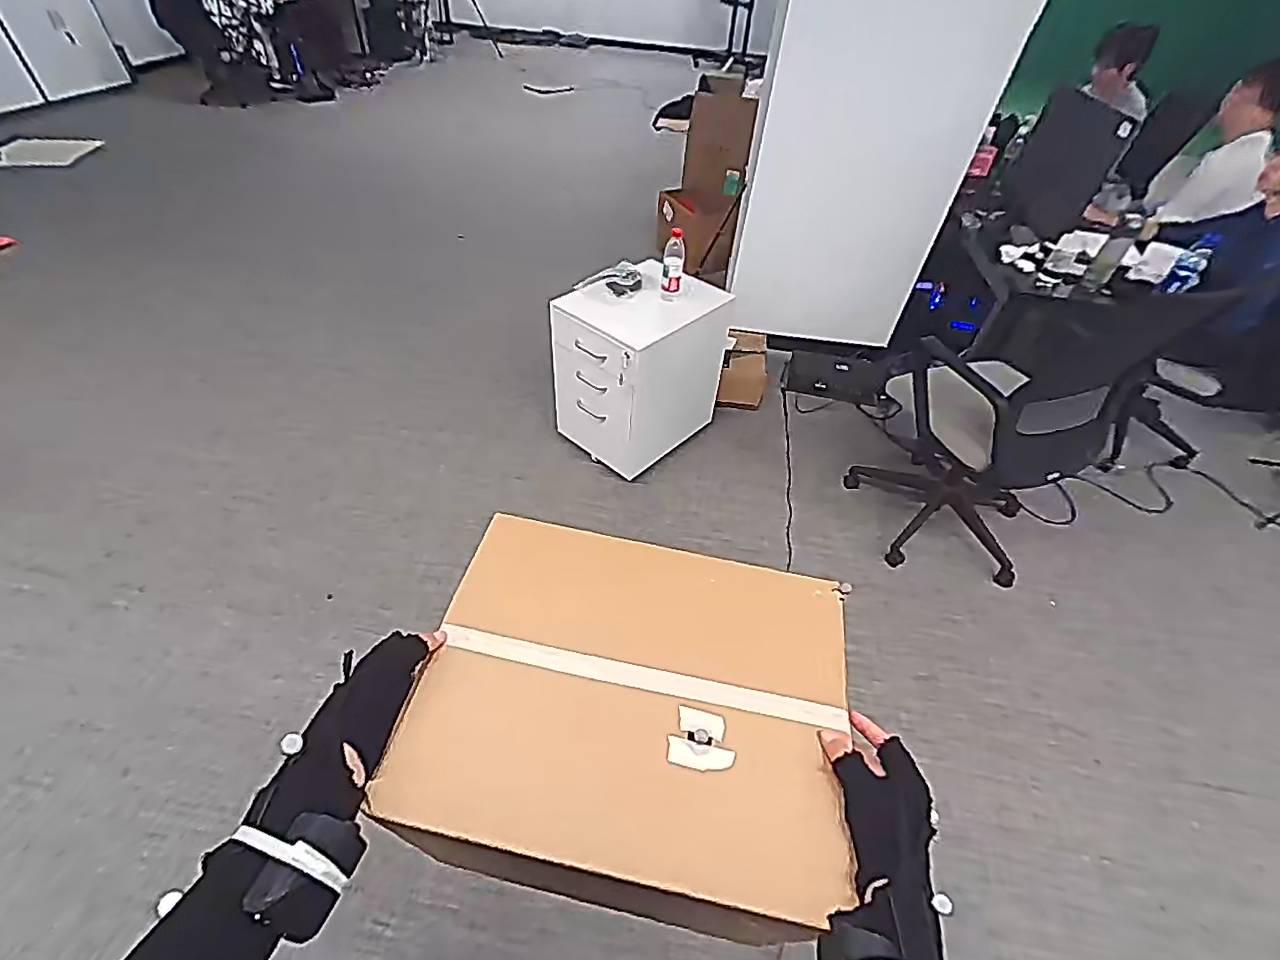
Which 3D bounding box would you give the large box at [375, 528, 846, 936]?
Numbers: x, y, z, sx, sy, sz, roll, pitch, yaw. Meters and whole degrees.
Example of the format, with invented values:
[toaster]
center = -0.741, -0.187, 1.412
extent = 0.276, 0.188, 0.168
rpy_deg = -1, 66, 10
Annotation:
[large box]
center = -0.016, 0.301, 0.648
extent = 0.408, 0.320, 0.320
rpy_deg = 12, 49, 4
